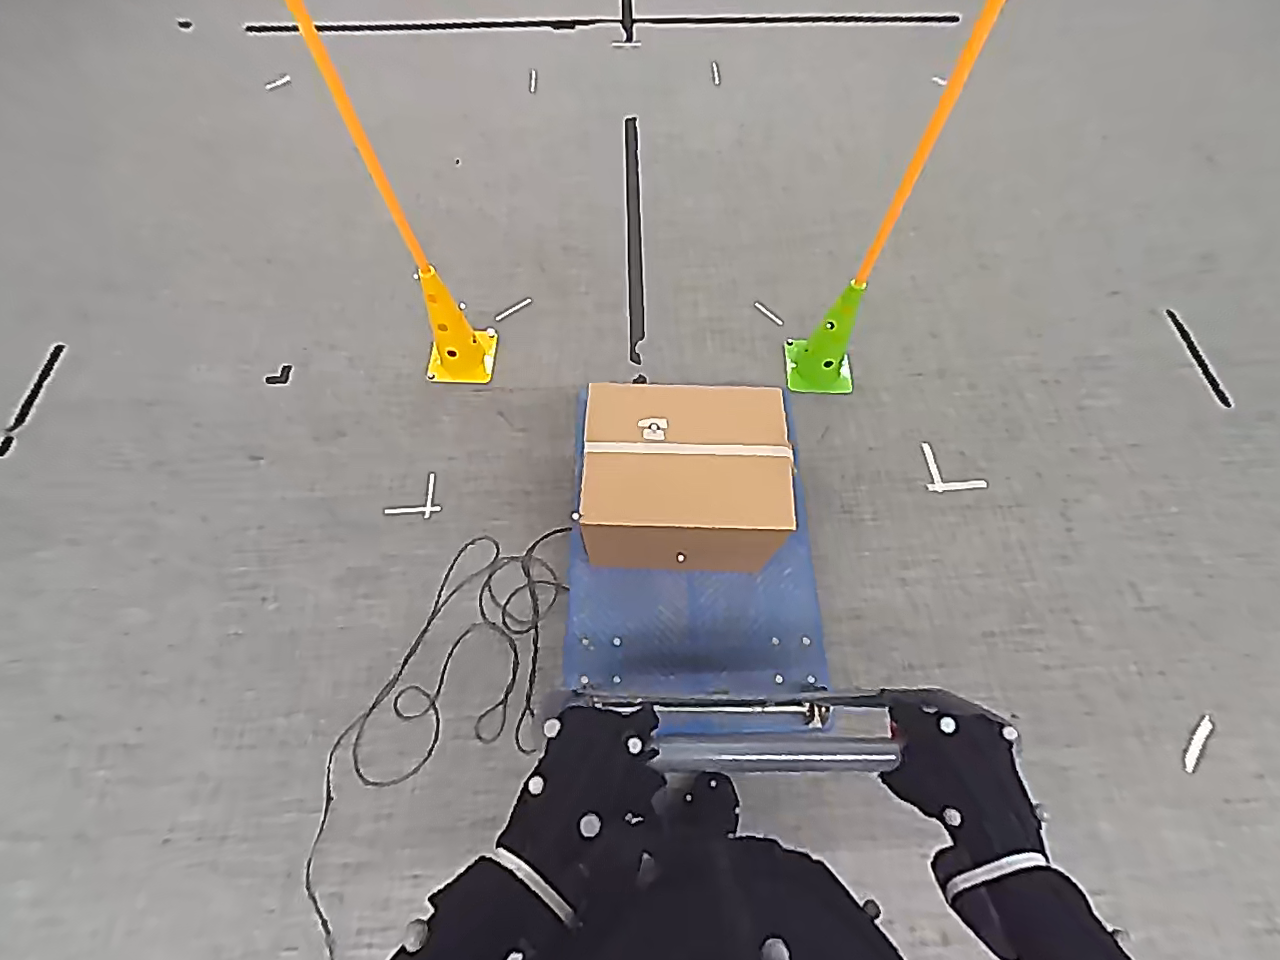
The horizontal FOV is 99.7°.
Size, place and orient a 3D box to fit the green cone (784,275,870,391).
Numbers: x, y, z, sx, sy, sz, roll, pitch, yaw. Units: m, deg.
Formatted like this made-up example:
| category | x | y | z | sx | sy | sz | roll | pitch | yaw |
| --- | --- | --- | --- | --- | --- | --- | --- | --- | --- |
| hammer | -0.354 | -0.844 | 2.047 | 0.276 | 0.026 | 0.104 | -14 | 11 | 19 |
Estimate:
| category | x | y | z | sx | sy | sz | roll | pitch | yaw |
| --- | --- | --- | --- | --- | --- | --- | --- | --- | --- |
| green cone | 0.572 | -0.444 | 1.575 | 0.202 | 0.368 | 0.200 | 2 | 65 | -1 |

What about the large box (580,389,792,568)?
| category | x | y | z | sx | sy | sz | roll | pitch | yaw |
| --- | --- | --- | --- | --- | --- | --- | --- | --- | --- |
| large box | 0.090 | 0.010 | 1.202 | 0.408 | 0.320 | 0.320 | 1 | 66 | 1 |
